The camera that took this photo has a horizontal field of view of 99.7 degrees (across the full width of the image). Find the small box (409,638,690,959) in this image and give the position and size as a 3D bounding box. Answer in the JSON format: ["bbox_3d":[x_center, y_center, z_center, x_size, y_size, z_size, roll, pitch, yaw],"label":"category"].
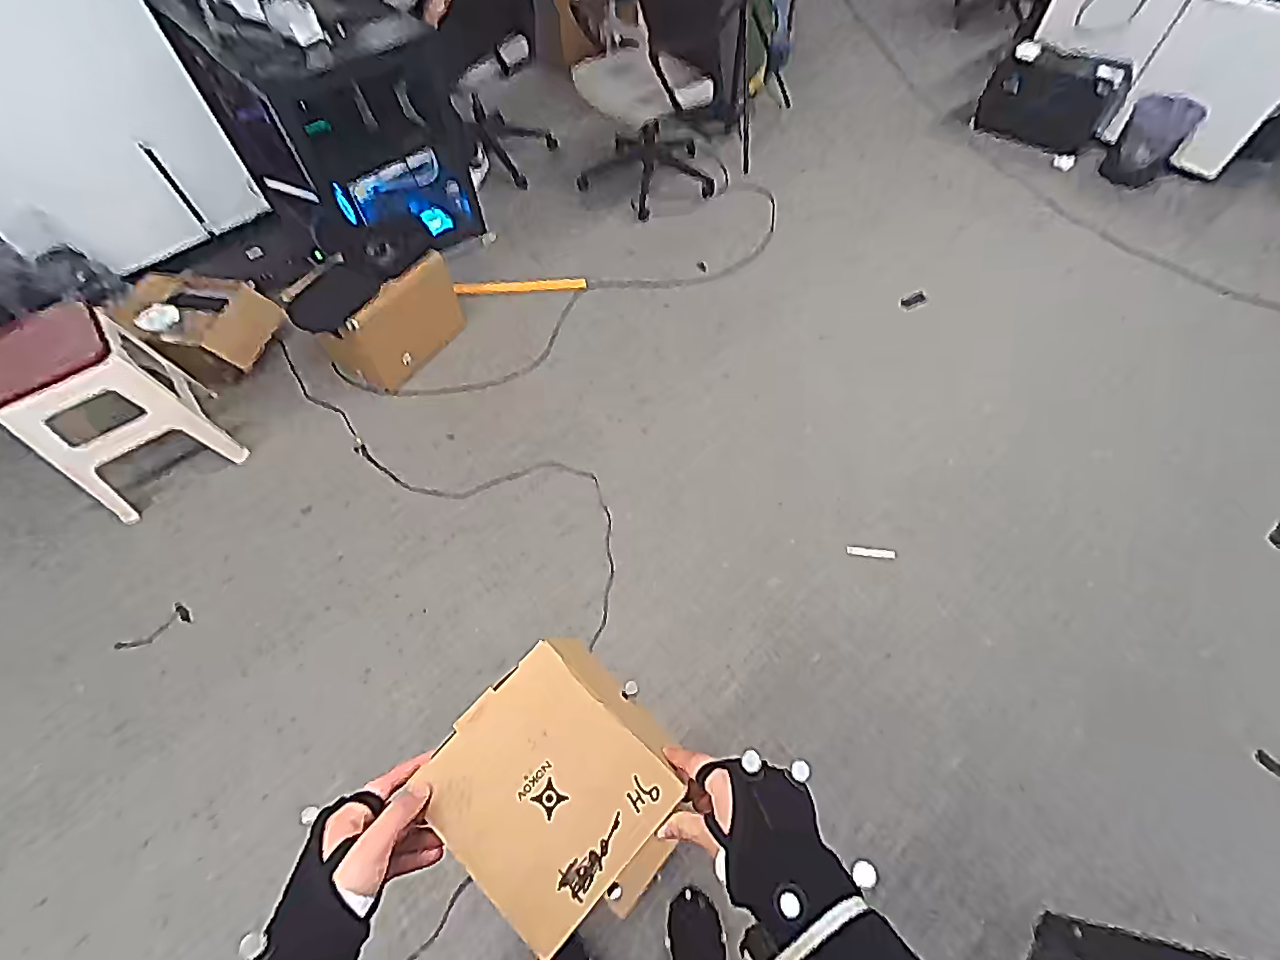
[{"bbox_3d":[-0.072,0.275,0.514,0.179,0.176,0.168,41,79,14],"label":"small box"}]

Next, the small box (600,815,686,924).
[{"bbox_3d":[-0.033,0.666,1.004,0.168,0.176,0.179,37,64,20],"label":"small box"}]
